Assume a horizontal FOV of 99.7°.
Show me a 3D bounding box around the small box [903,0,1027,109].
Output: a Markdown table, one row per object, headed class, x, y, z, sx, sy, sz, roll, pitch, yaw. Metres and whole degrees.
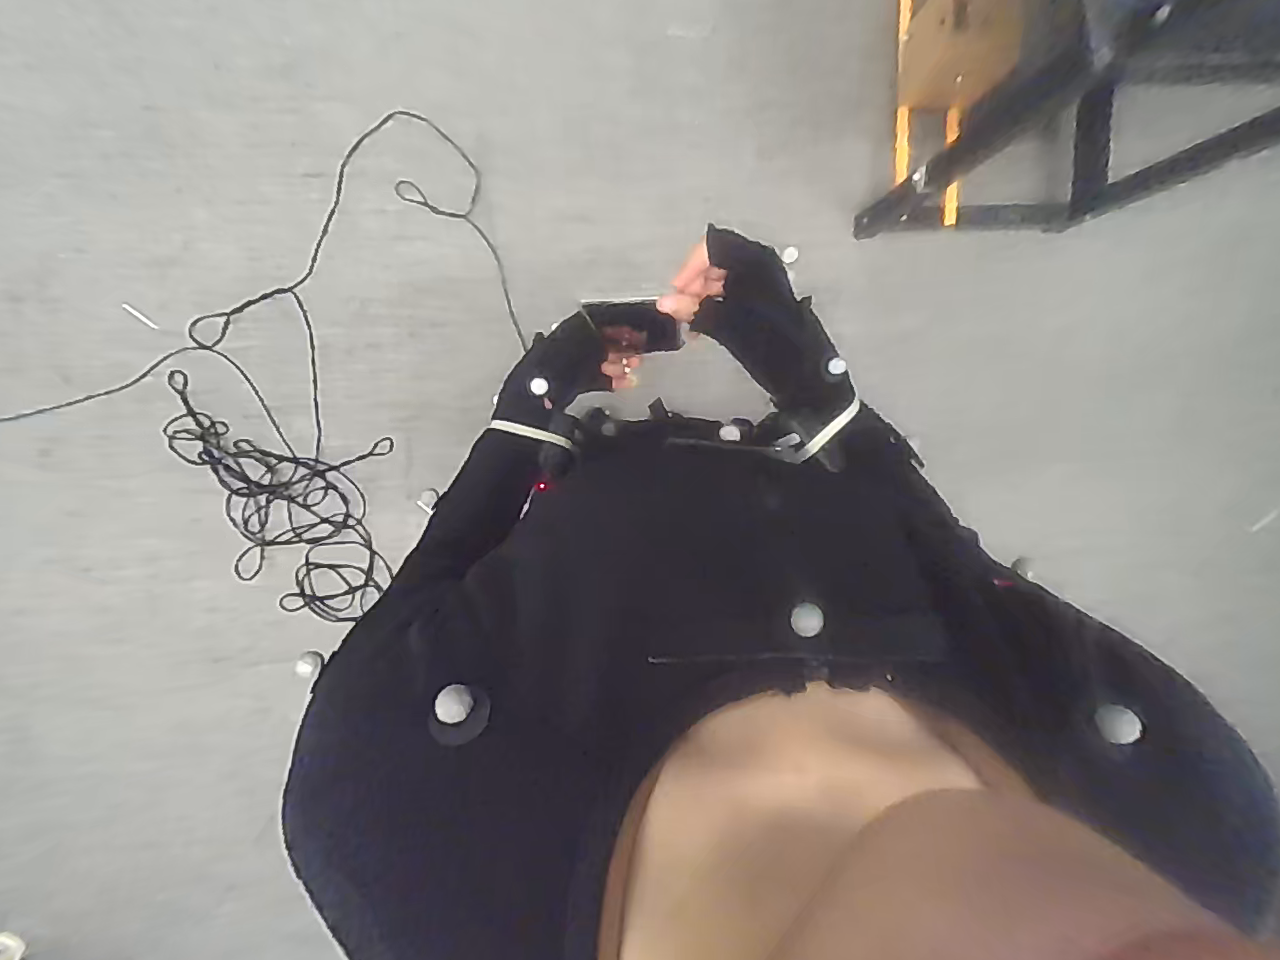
| class | x | y | z | sx | sy | sz | roll | pitch | yaw |
| --- | --- | --- | --- | --- | --- | --- | --- | --- | --- |
| small box | 0.714 | -0.960 | 1.204 | 0.179 | 0.176 | 0.168 | 1 | 97 | -3 |
